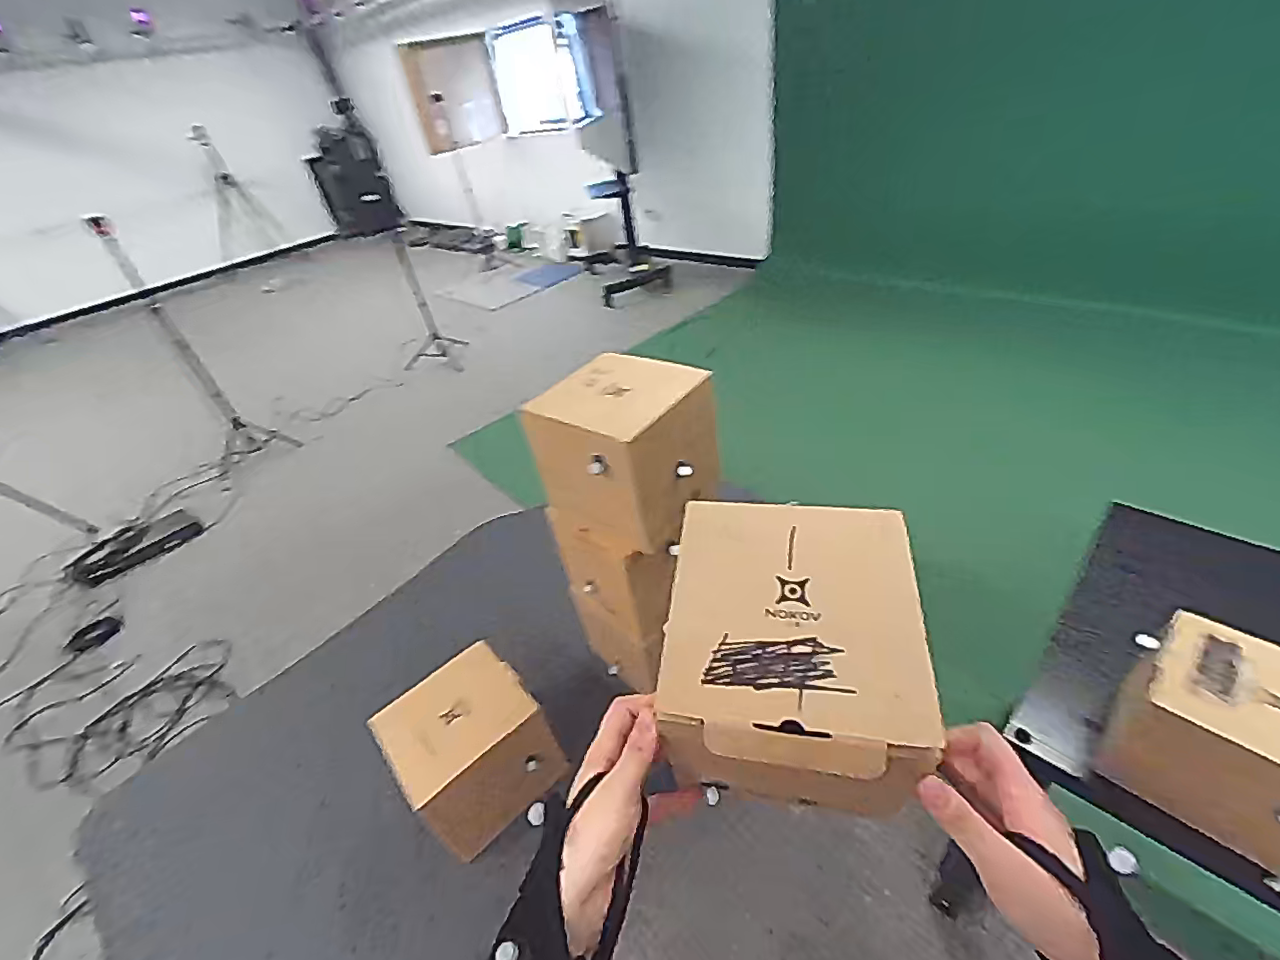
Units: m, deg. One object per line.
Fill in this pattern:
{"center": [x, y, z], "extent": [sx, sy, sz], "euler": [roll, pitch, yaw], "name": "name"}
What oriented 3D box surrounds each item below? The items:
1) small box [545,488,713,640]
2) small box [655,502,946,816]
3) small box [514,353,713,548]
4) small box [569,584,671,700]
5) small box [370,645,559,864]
{"center": [-0.005, 0.092, 0.788], "extent": [0.179, 0.176, 0.168], "euler": [-37, 43, -28], "name": "small box"}
{"center": [0.116, 0.138, 0.421], "extent": [0.168, 0.176, 0.179], "euler": [2, 48, 13], "name": "small box"}
{"center": [-0.022, -0.039, 0.688], "extent": [0.179, 0.176, 0.168], "euler": [18, 46, 35], "name": "small box"}
{"center": [0.016, 0.225, 0.880], "extent": [0.168, 0.176, 0.179], "euler": [-35, 43, -27], "name": "small box"}
{"center": [-0.231, 0.376, 0.753], "extent": [0.179, 0.176, 0.168], "euler": [-36, 42, -27], "name": "small box"}
